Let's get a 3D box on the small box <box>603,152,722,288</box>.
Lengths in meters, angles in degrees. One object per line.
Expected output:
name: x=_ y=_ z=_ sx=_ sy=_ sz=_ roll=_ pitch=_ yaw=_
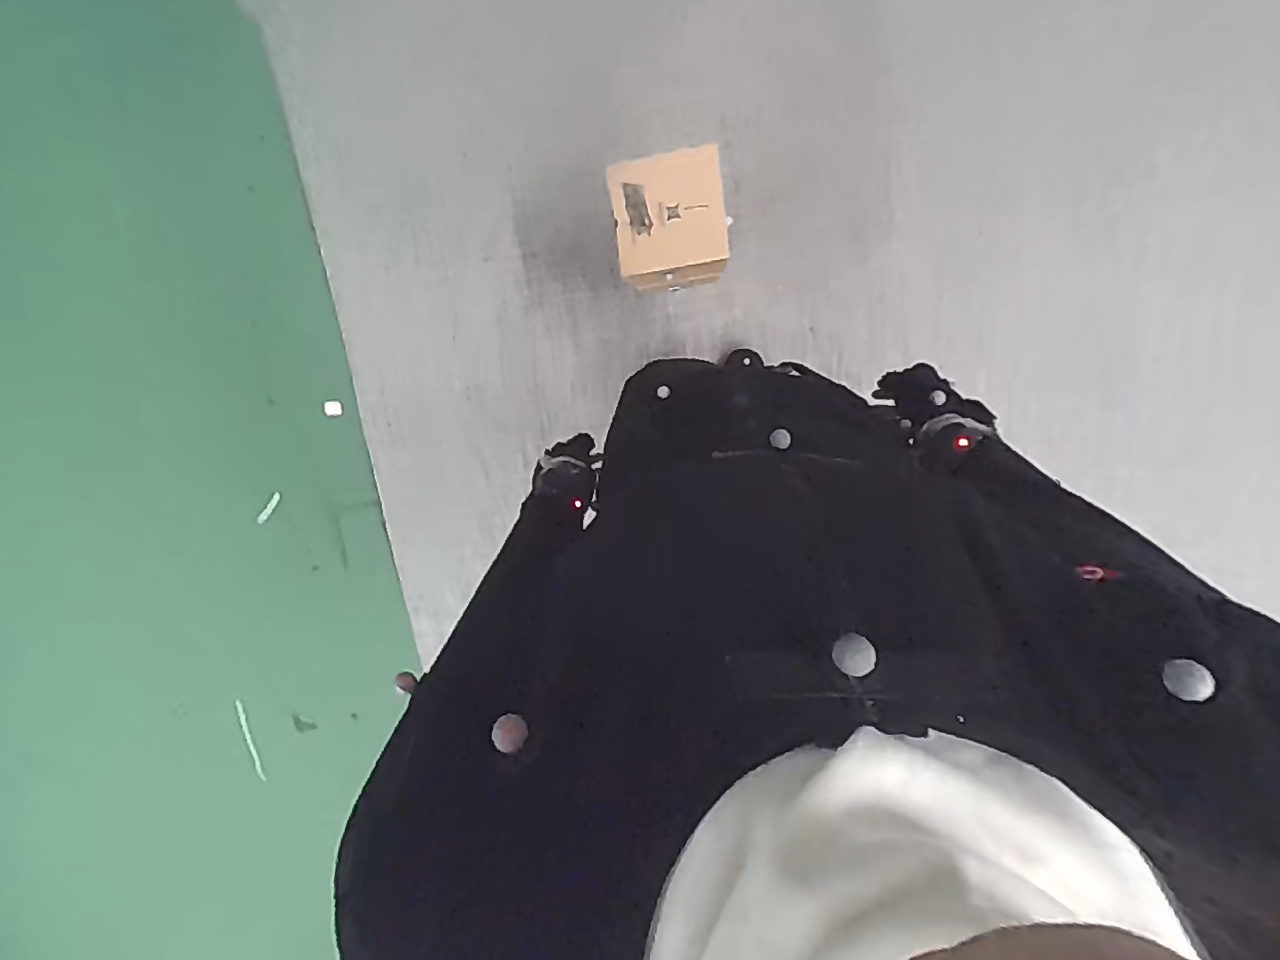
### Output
small box: x=0.047 y=-0.436 z=0.935 sx=0.179 sy=0.176 sz=0.168 roll=-7 pitch=104 yaw=8

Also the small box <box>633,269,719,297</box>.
small box: x=0.063 y=-0.473 z=1.077 sx=0.168 sy=0.176 sz=0.179 roll=-8 pitch=105 yaw=9
